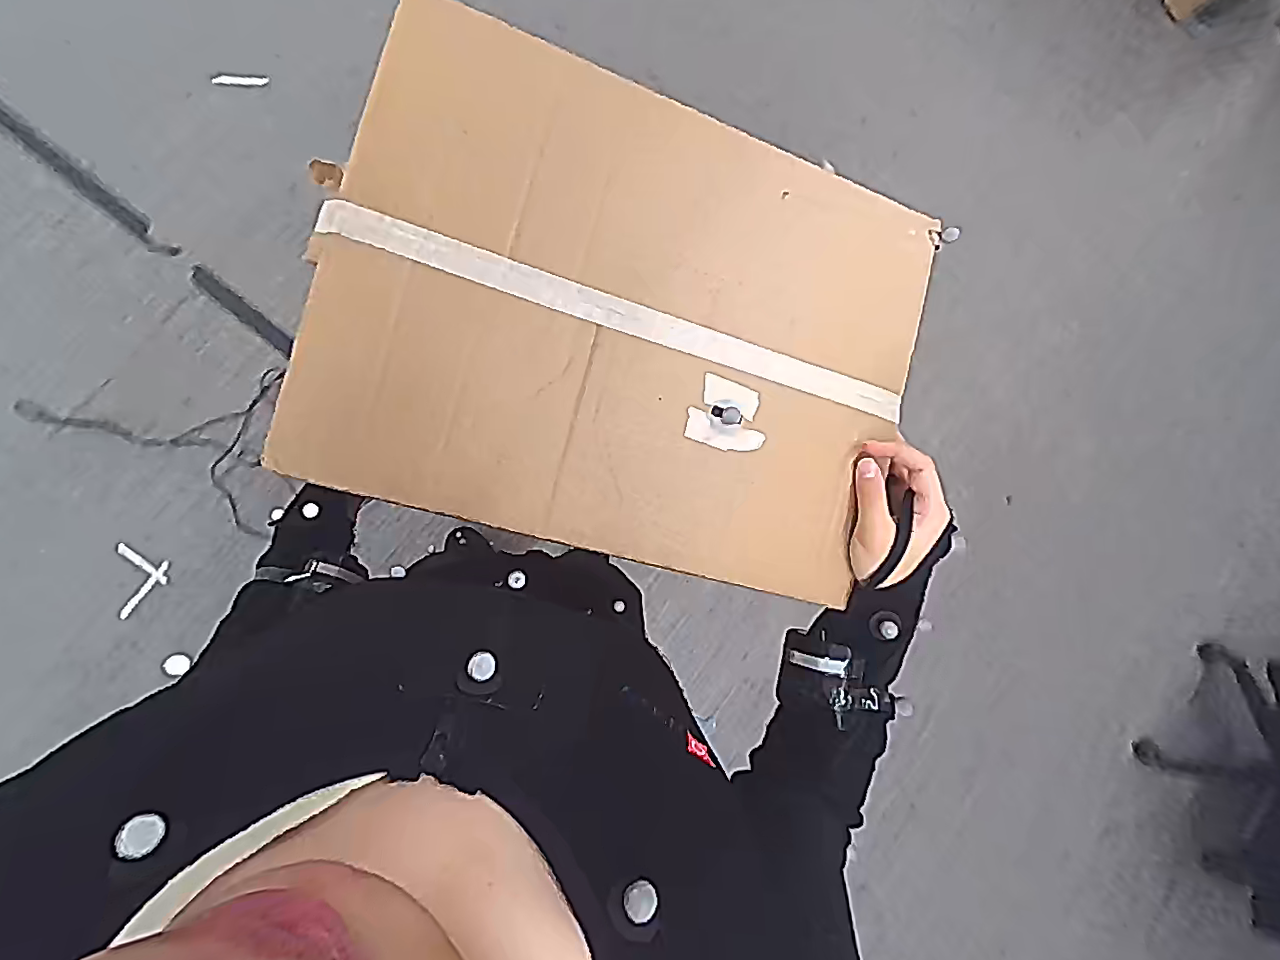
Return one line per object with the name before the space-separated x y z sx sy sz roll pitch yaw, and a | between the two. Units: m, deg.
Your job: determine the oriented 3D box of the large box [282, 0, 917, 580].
large box | -0.035 -0.113 0.518 0.408 0.320 0.320 14 87 -15
